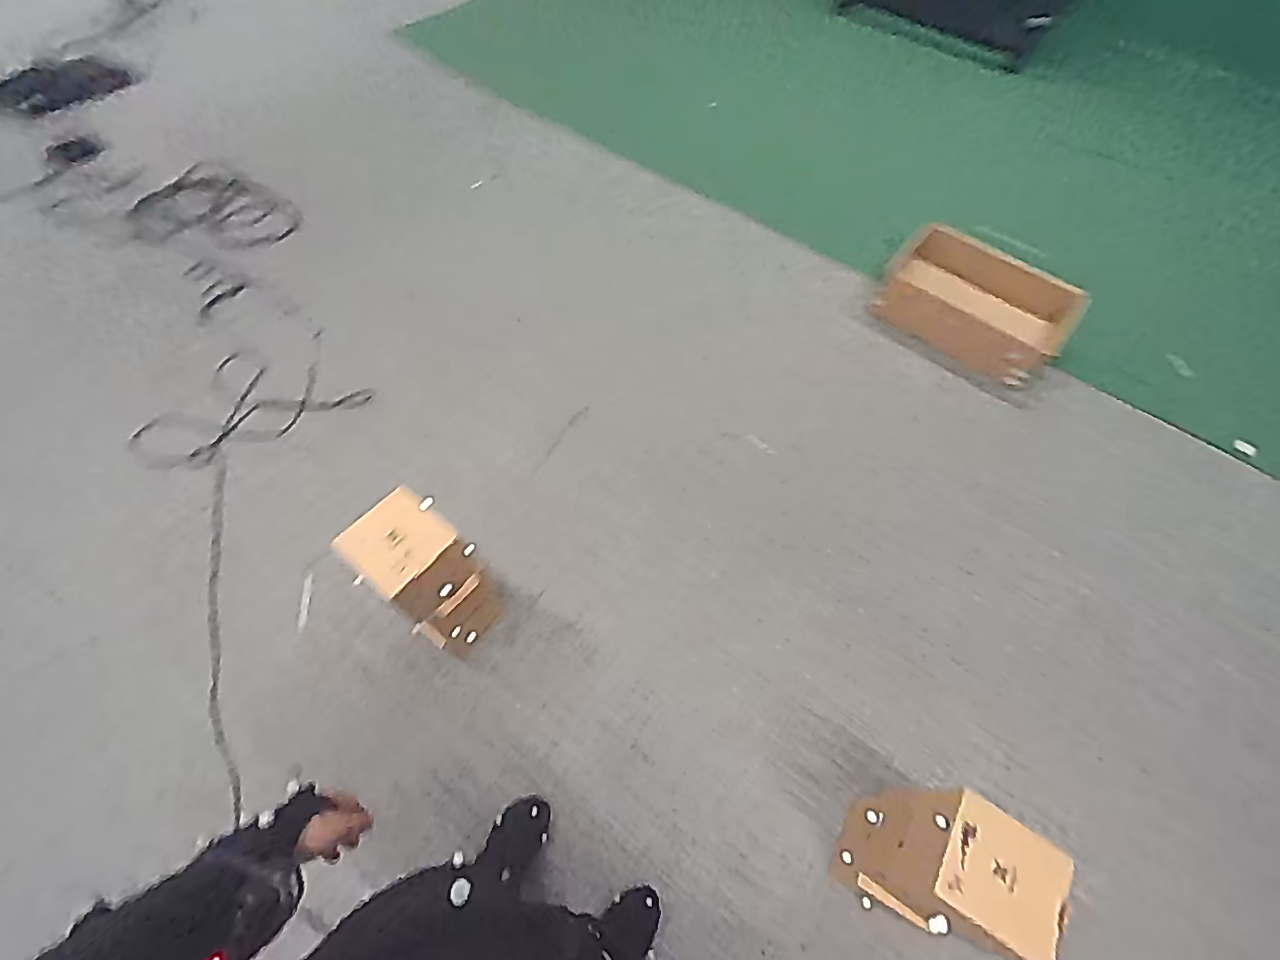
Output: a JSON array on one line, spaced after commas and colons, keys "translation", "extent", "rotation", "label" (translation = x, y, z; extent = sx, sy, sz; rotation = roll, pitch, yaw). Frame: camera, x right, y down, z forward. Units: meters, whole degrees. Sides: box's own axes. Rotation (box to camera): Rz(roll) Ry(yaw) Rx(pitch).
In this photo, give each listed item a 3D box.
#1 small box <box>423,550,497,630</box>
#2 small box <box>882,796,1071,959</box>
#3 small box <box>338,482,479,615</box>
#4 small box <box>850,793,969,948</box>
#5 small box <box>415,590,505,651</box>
[{"translation": [-0.450, 0.220, 1.230], "extent": [0.179, 0.176, 0.168], "rotation": [36, 64, 18], "label": "small box"}, {"translation": [0.534, 0.641, 0.878], "extent": [0.179, 0.176, 0.168], "rotation": [34, 63, 14], "label": "small box"}, {"translation": [-0.454, 0.143, 1.084], "extent": [0.179, 0.176, 0.168], "rotation": [36, 65, 17], "label": "small box"}, {"translation": [0.533, 0.720, 1.021], "extent": [0.179, 0.176, 0.168], "rotation": [33, 63, 15], "label": "small box"}, {"translation": [-0.466, 0.310, 1.367], "extent": [0.179, 0.176, 0.168], "rotation": [36, 64, 17], "label": "small box"}]
